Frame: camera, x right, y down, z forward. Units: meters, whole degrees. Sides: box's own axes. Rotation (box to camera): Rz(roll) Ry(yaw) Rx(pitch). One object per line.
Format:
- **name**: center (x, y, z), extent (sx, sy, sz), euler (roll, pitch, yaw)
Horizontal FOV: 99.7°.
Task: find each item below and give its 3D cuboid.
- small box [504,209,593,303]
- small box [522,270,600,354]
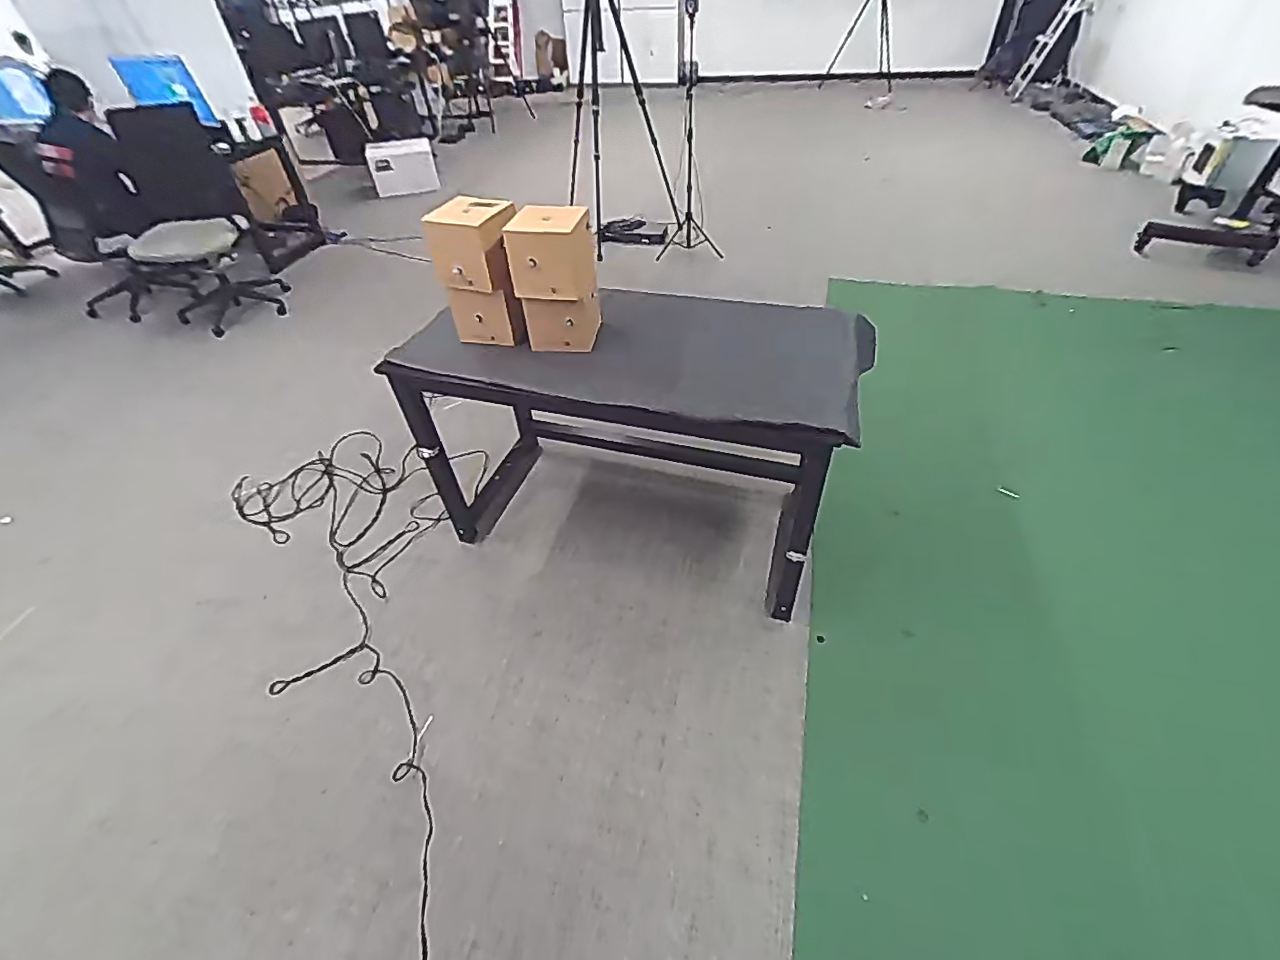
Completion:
- **small box**: center (-0.218, -0.555, 1.342), extent (0.168, 0.176, 0.179), euler (6, 44, 8)
- **small box**: center (-0.207, -0.458, 1.474), extent (0.168, 0.176, 0.179), euler (4, 44, 6)
